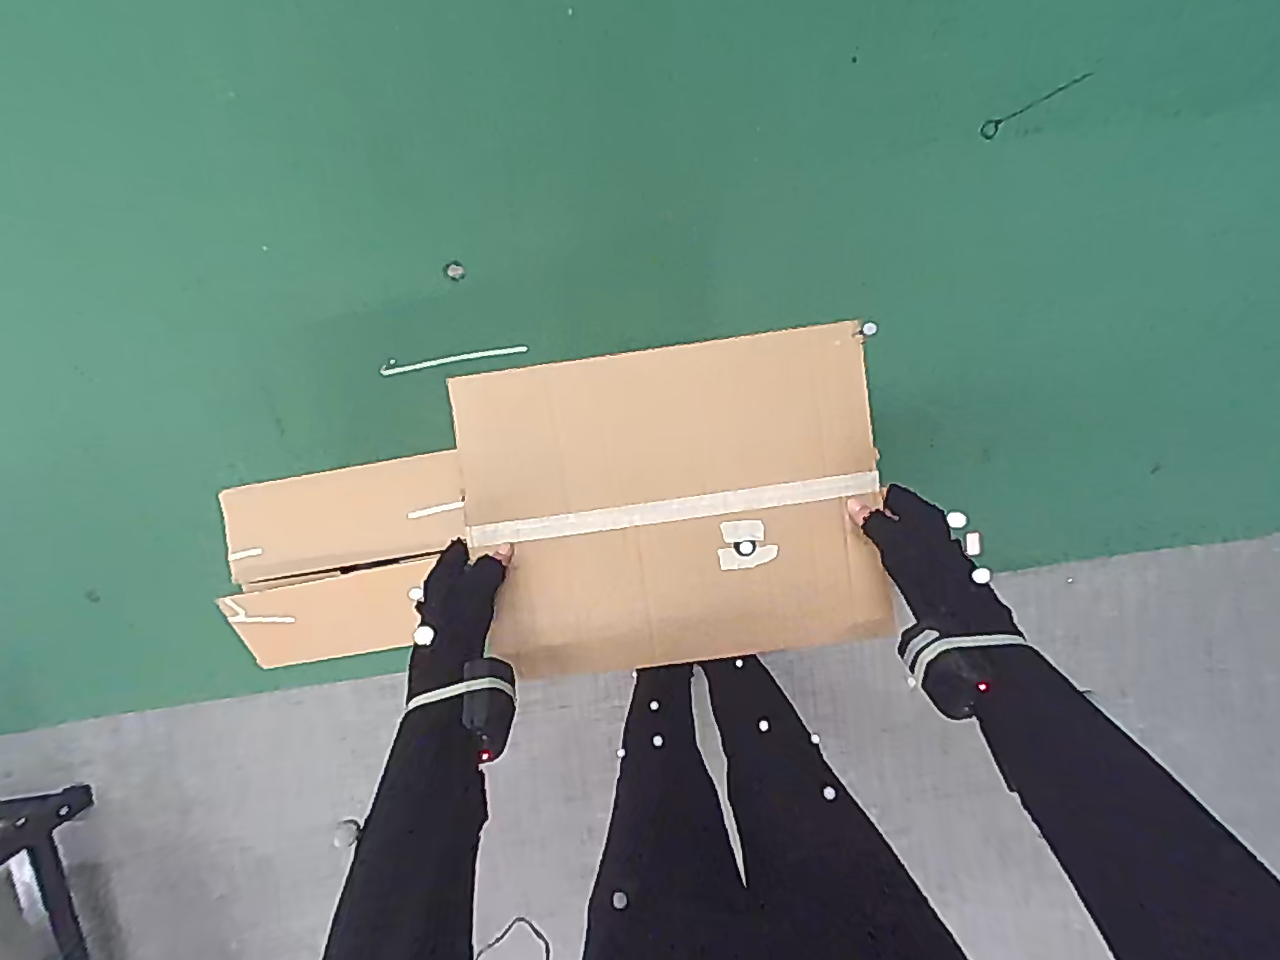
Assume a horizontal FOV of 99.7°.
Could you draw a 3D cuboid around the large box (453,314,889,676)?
[{"bbox_3d":[0.033,0.012,0.684,0.408,0.320,0.320,-8,94,1],"label":"large box"}]
